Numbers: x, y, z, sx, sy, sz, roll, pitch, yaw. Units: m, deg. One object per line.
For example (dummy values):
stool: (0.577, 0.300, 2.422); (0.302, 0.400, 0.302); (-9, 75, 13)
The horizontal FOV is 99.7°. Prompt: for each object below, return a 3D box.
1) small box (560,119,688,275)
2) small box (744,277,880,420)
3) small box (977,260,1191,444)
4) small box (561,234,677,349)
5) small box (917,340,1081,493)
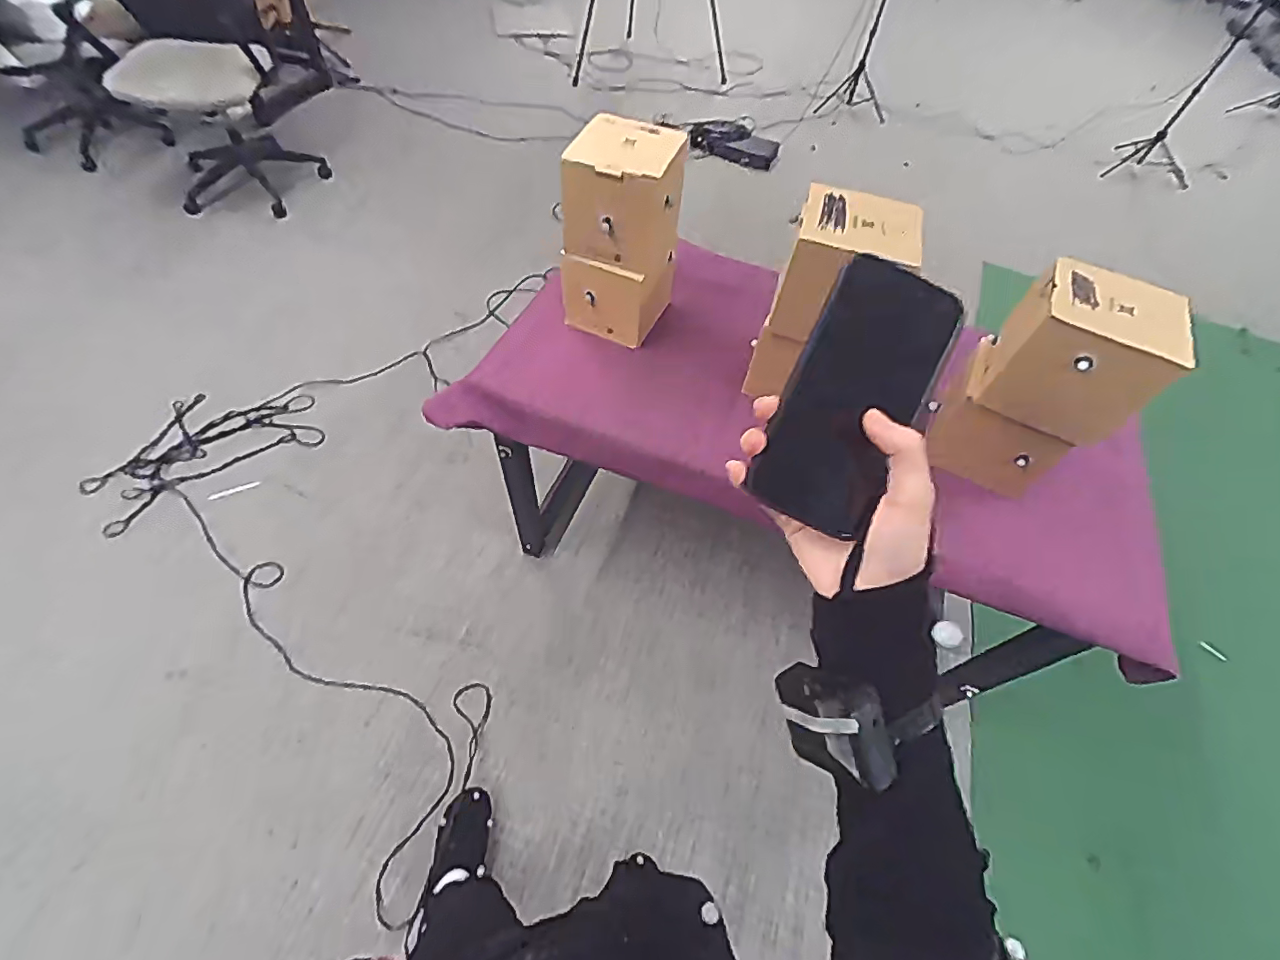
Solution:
small box: (-0.026, -0.490, 0.945); (0.168, 0.176, 0.179); (18, 57, 7)
small box: (0.310, -0.235, 0.995); (0.179, 0.176, 0.168); (21, 56, 10)
small box: (0.629, -0.180, 0.786); (0.179, 0.176, 0.168); (27, 57, 13)
small box: (-0.040, -0.391, 1.076); (0.168, 0.176, 0.179); (22, 57, 10)
small box: (0.617, -0.102, 0.930); (0.179, 0.176, 0.168); (27, 57, 14)
